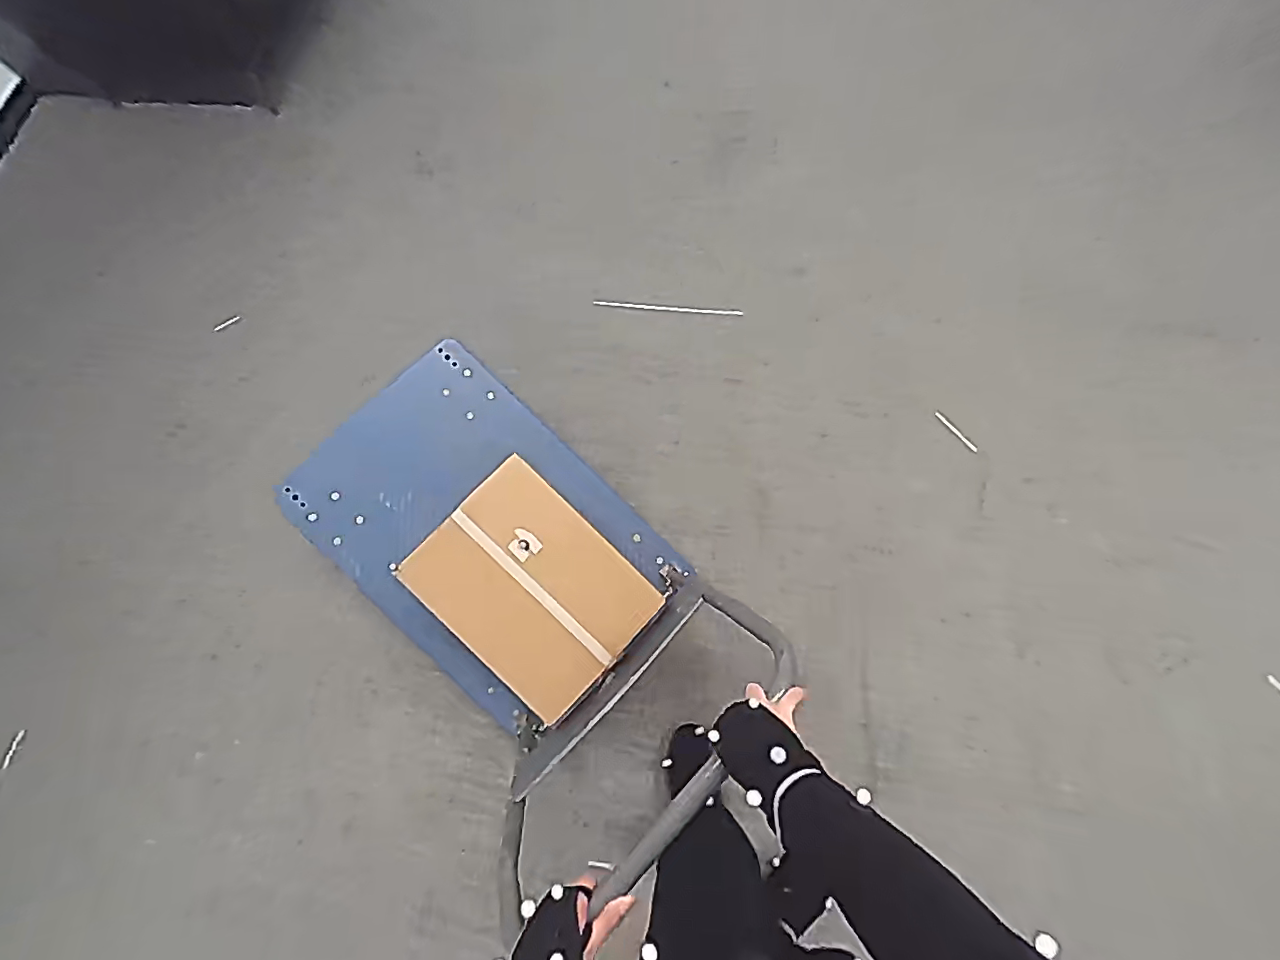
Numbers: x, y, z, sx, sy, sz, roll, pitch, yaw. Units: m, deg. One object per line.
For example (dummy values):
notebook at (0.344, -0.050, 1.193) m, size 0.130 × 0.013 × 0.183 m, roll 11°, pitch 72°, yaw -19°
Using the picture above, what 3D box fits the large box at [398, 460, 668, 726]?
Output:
large box at (-0.201, 0.219, 1.138) m, size 0.408 × 0.320 × 0.320 m, roll 44°, pitch 81°, yaw 1°
